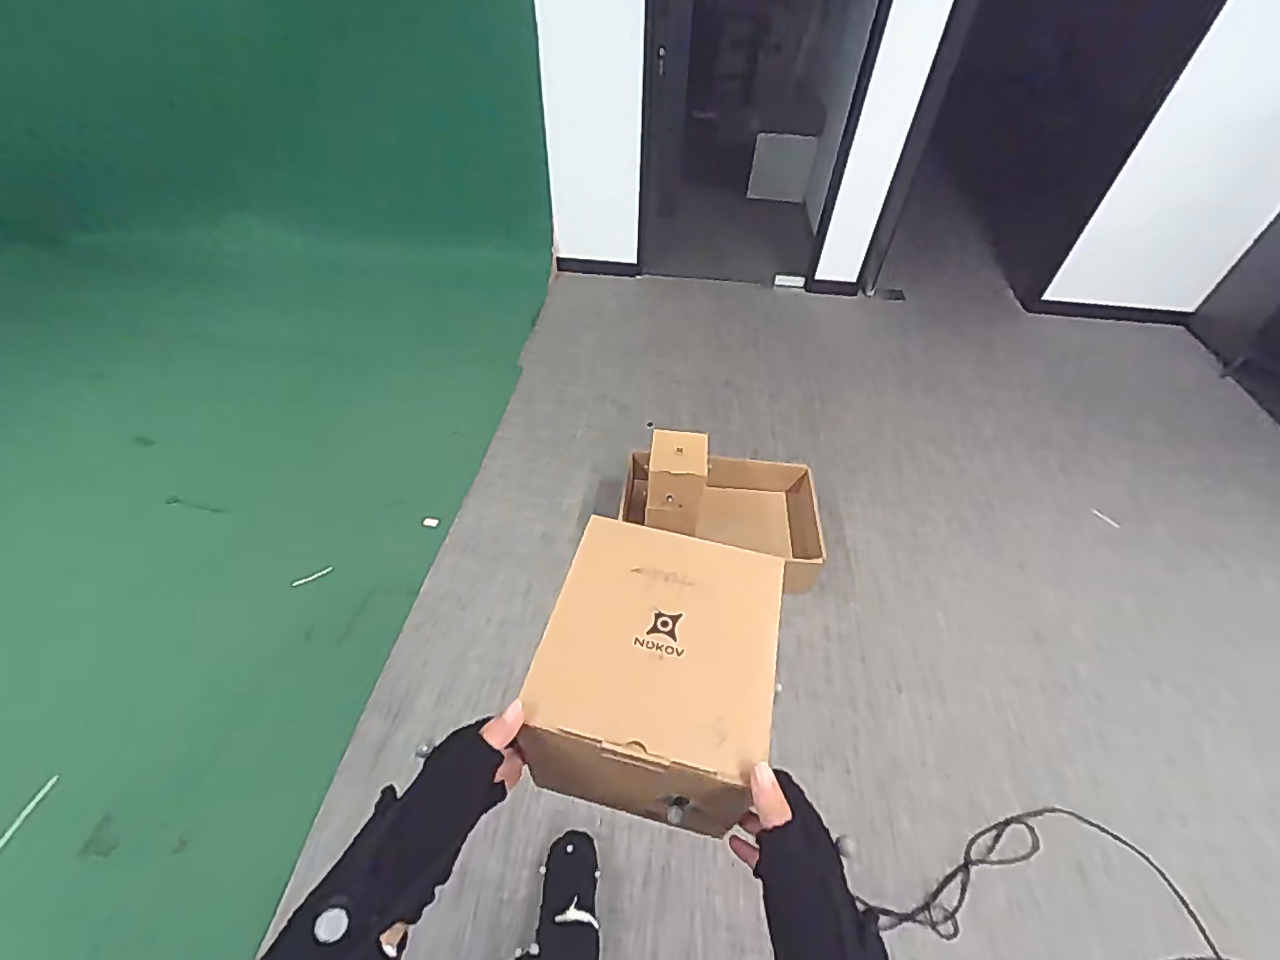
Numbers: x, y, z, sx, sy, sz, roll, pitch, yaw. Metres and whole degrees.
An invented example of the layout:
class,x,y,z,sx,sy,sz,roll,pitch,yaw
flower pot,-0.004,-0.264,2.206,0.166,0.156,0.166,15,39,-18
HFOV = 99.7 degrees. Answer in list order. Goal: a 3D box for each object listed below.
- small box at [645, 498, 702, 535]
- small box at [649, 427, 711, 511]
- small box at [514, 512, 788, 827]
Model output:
class,x,y,z,sx,sy,sz,roll,pitch,yaw
small box,0.109,0.079,1.732,0.168,0.176,0.179,7,47,3
small box,0.117,-0.033,1.615,0.168,0.176,0.179,6,47,2
small box,0.015,0.159,0.448,0.168,0.176,0.179,13,48,7
